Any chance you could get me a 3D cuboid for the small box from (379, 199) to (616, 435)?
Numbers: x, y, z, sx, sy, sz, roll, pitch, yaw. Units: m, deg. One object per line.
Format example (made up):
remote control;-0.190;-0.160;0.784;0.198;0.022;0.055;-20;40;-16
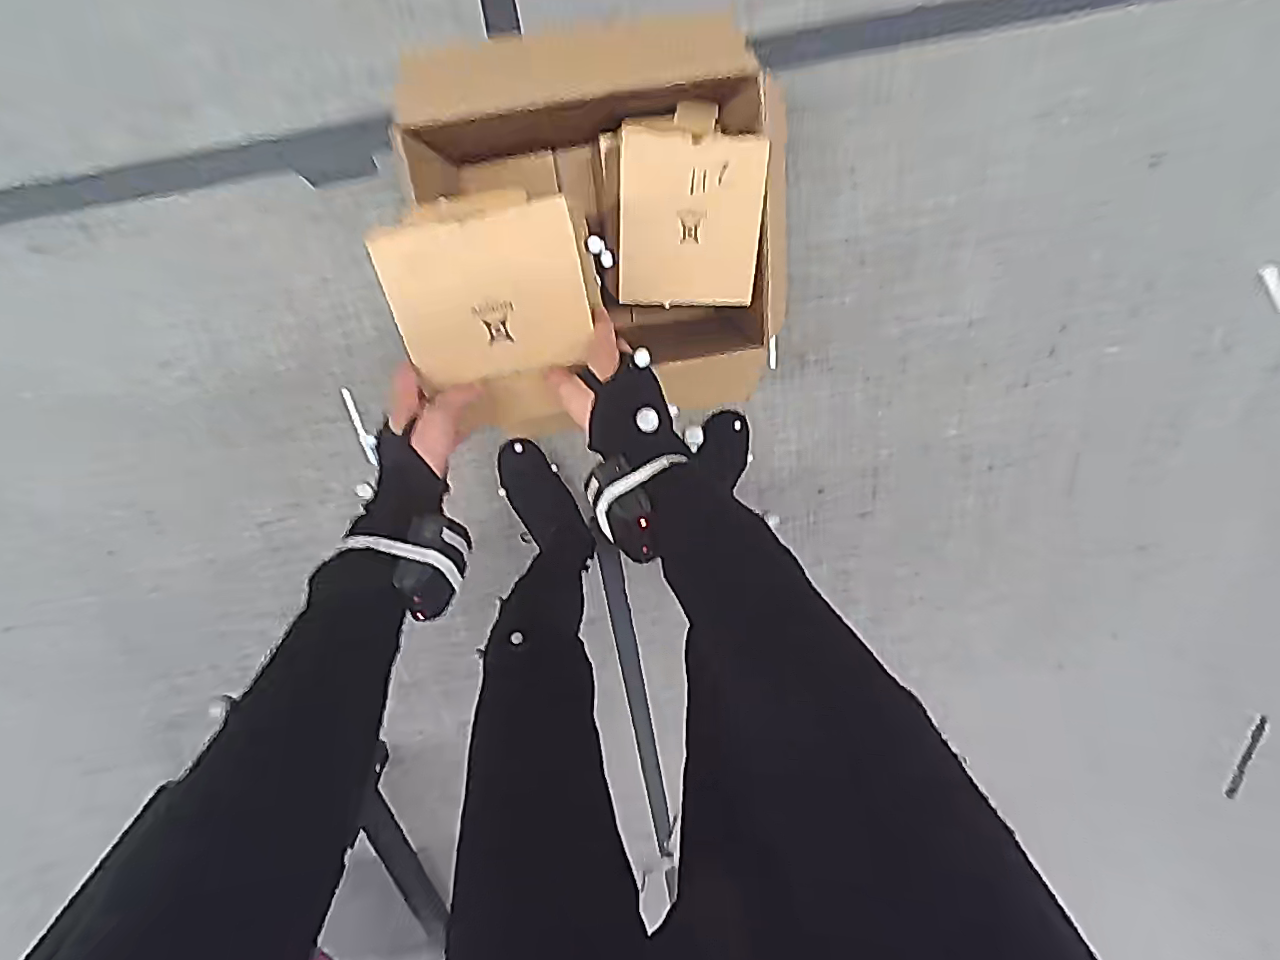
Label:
small box;-0.119;-0.166;0.536;0.168;0.176;0.179;-9;117;3
